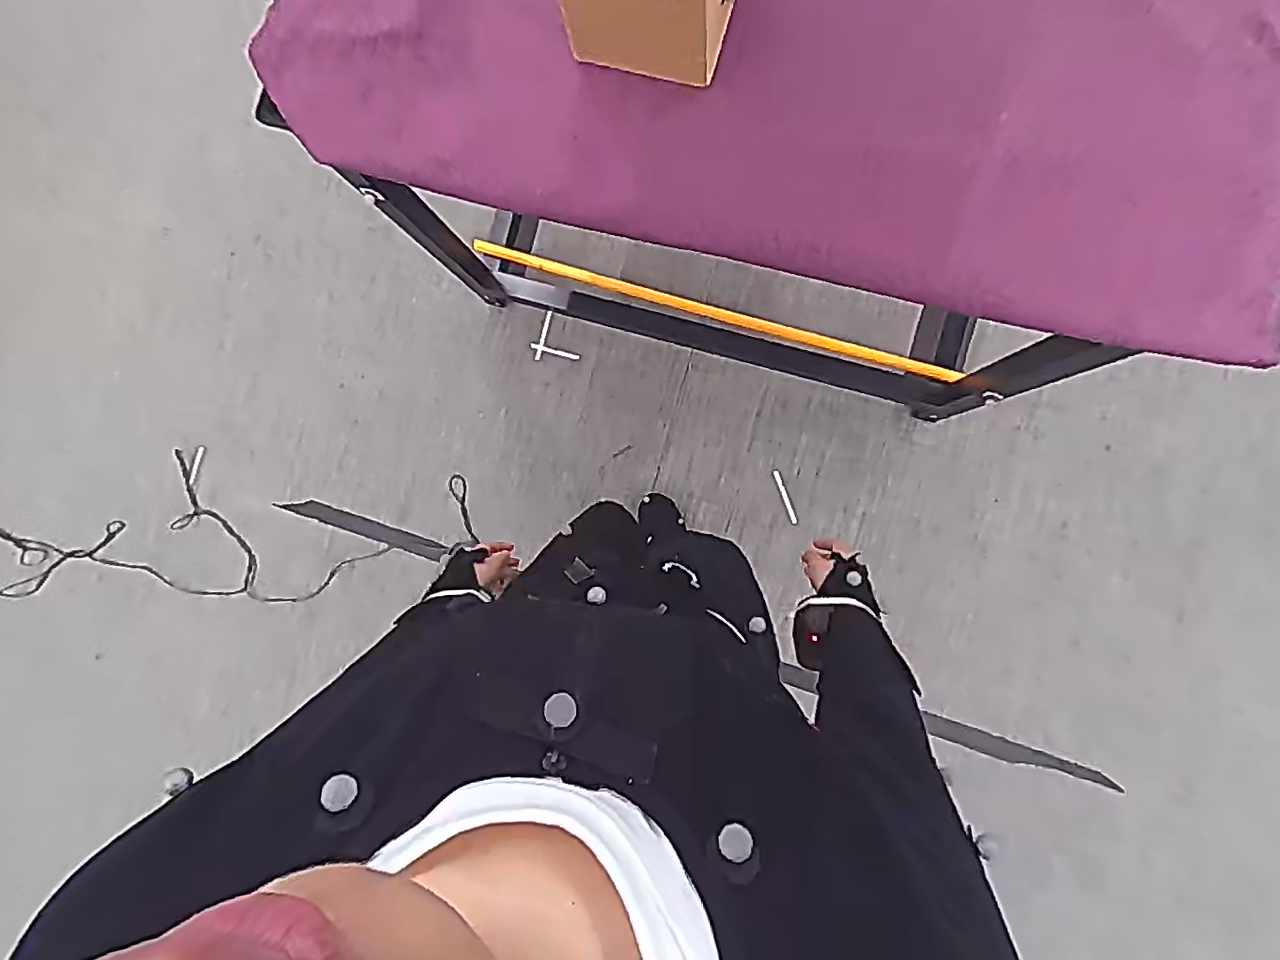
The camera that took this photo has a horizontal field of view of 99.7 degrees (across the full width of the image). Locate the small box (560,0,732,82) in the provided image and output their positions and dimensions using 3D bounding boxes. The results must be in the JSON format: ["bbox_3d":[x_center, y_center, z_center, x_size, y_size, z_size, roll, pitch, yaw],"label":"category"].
[{"bbox_3d":[0.011,-0.581,0.588,0.179,0.176,0.168,17,90,6],"label":"small box"}]
